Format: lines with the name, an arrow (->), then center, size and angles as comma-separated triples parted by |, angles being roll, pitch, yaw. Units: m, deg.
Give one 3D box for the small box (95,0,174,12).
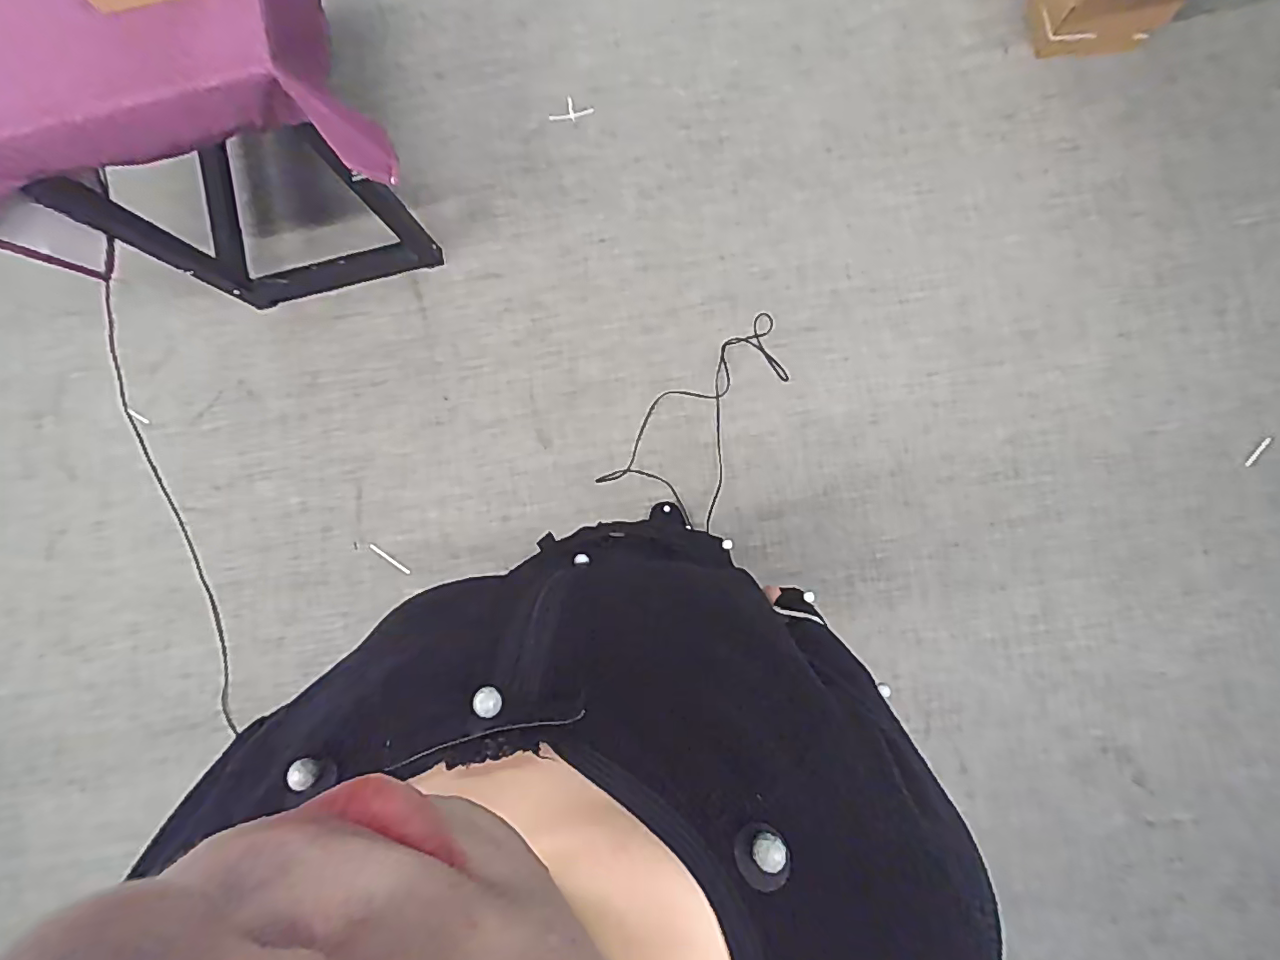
small box -> -0.792, -0.849, 0.795 | 0.179, 0.176, 0.168 | -10, 86, 3
